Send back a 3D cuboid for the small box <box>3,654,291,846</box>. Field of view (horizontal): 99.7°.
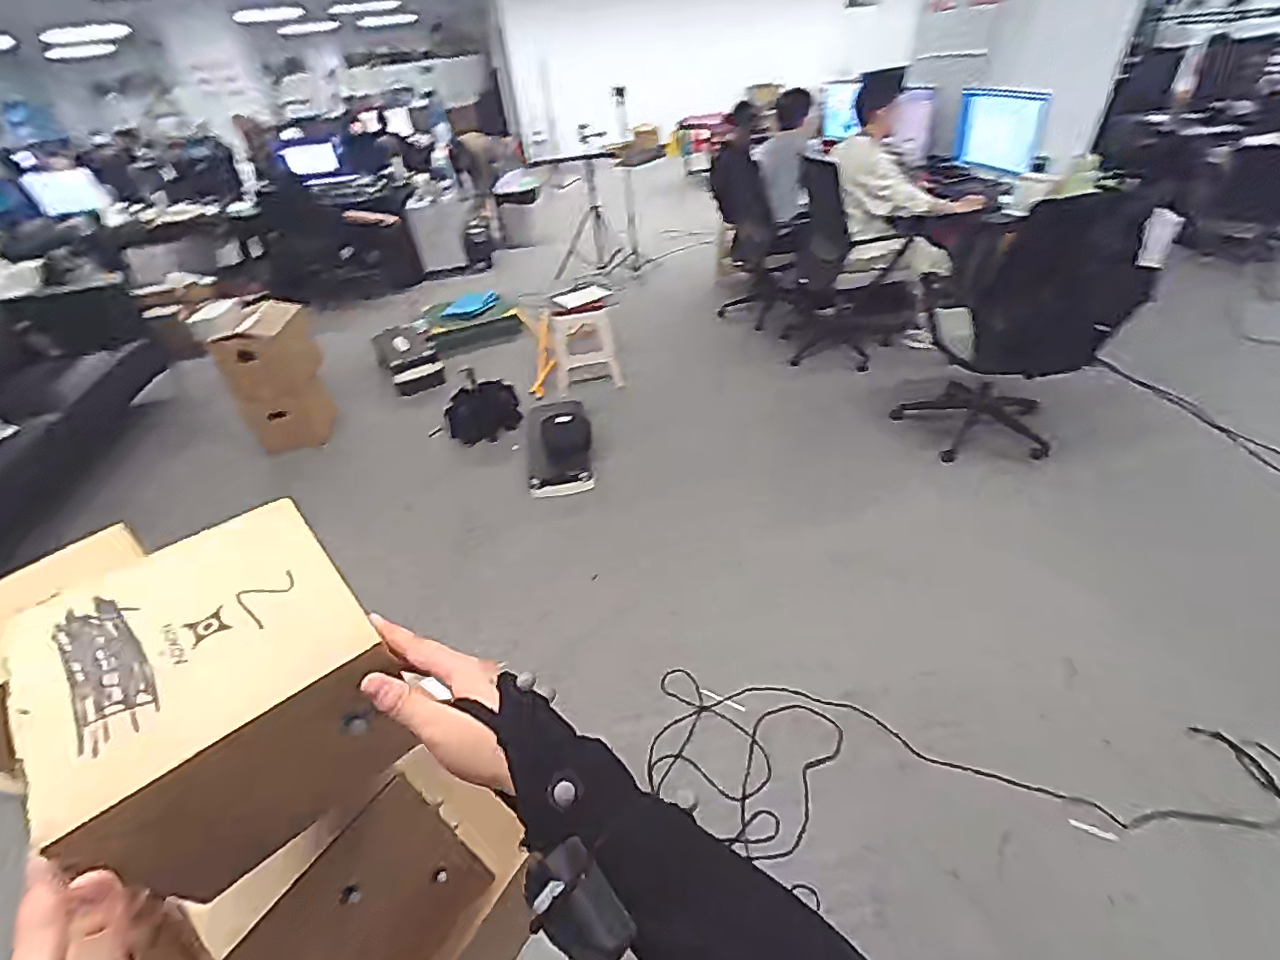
[{"bbox_3d":[-0.576,0.329,0.671,0.168,0.176,0.179,1,42,10],"label":"small box"}]

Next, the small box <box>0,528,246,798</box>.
[{"bbox_3d":[-0.568,0.189,0.579,0.168,0.176,0.179,23,49,32],"label":"small box"}]

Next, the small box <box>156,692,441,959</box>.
[{"bbox_3d":[-0.339,0.373,0.574,0.168,0.176,0.179,19,47,32],"label":"small box"}]
